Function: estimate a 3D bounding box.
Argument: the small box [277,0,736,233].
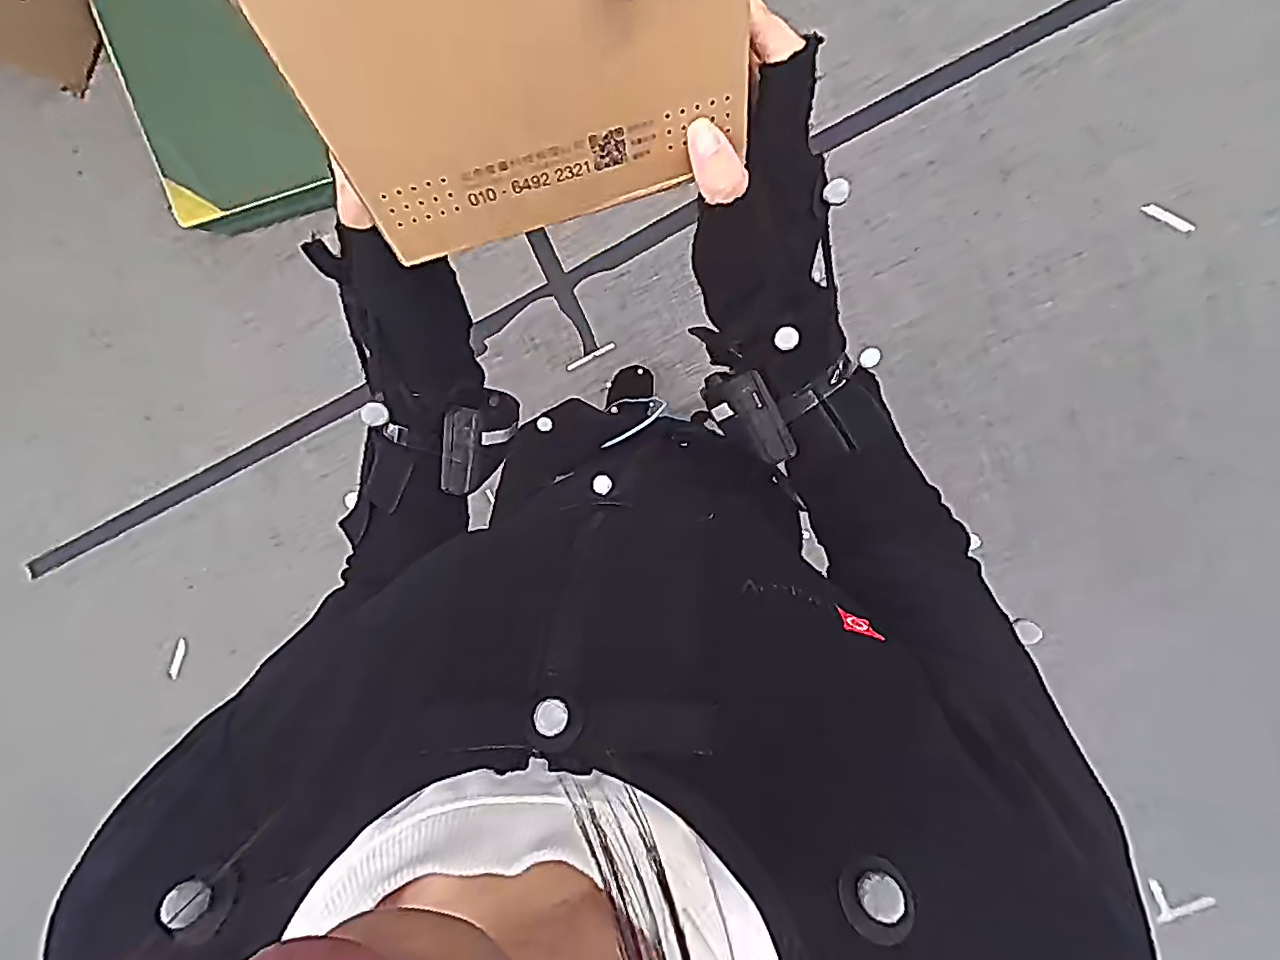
[{"bbox_3d":[-0.057,-0.237,0.242,0.168,0.176,0.179,-15,59,1],"label":"small box"}]
